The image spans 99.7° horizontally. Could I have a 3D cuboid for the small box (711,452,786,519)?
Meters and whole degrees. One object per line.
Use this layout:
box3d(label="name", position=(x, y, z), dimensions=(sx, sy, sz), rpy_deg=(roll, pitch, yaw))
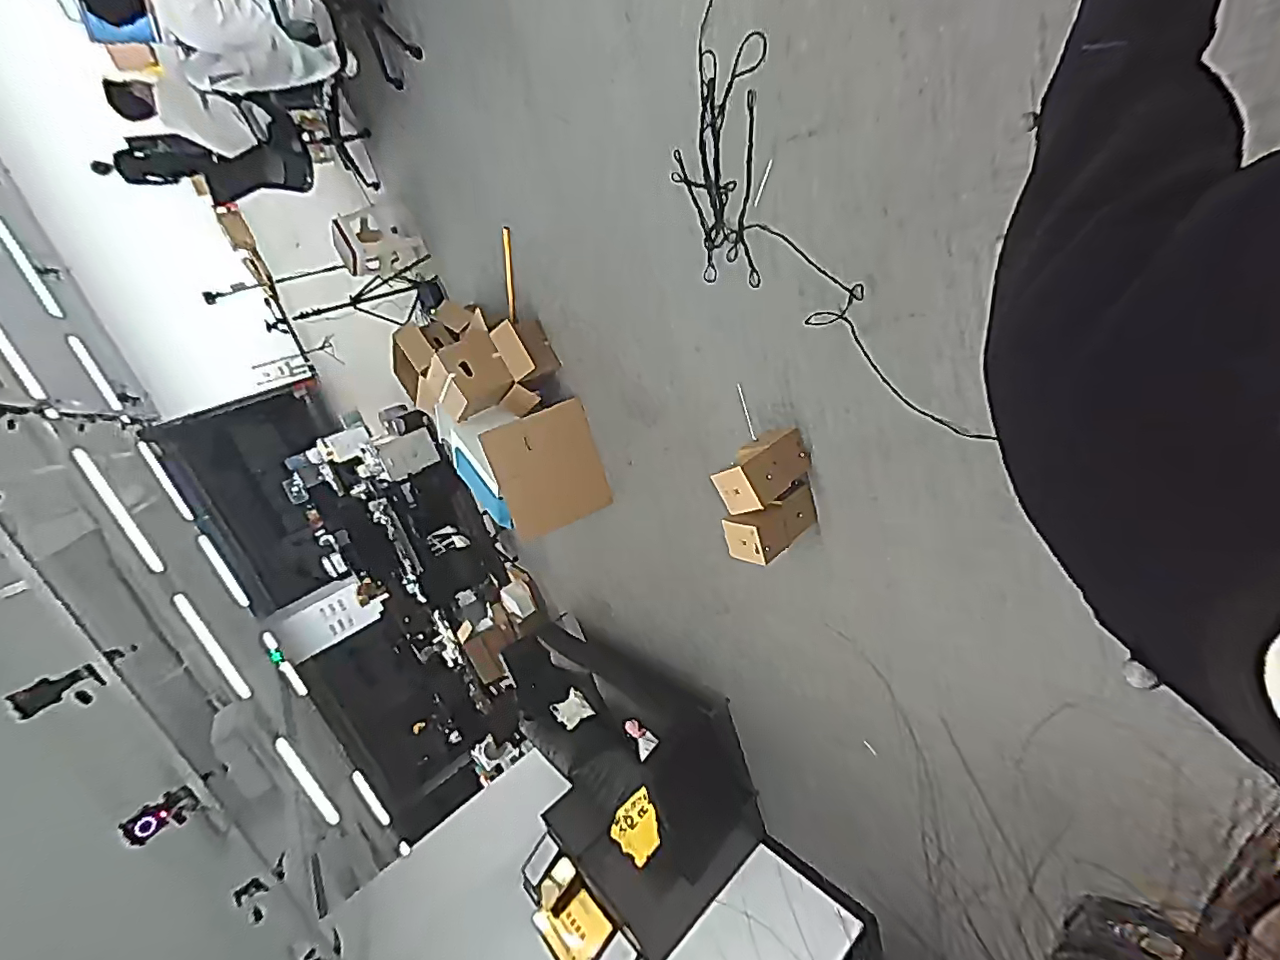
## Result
box3d(label="small box", position=(0.395, 0.018, 1.926), dimensions=(0.168, 0.176, 0.179), rpy_deg=(61, 150, -4))

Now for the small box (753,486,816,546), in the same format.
box3d(label="small box", position=(0.559, 0.131, 2.103), dimensions=(0.168, 0.176, 0.179), rpy_deg=(6, 121, 54))
